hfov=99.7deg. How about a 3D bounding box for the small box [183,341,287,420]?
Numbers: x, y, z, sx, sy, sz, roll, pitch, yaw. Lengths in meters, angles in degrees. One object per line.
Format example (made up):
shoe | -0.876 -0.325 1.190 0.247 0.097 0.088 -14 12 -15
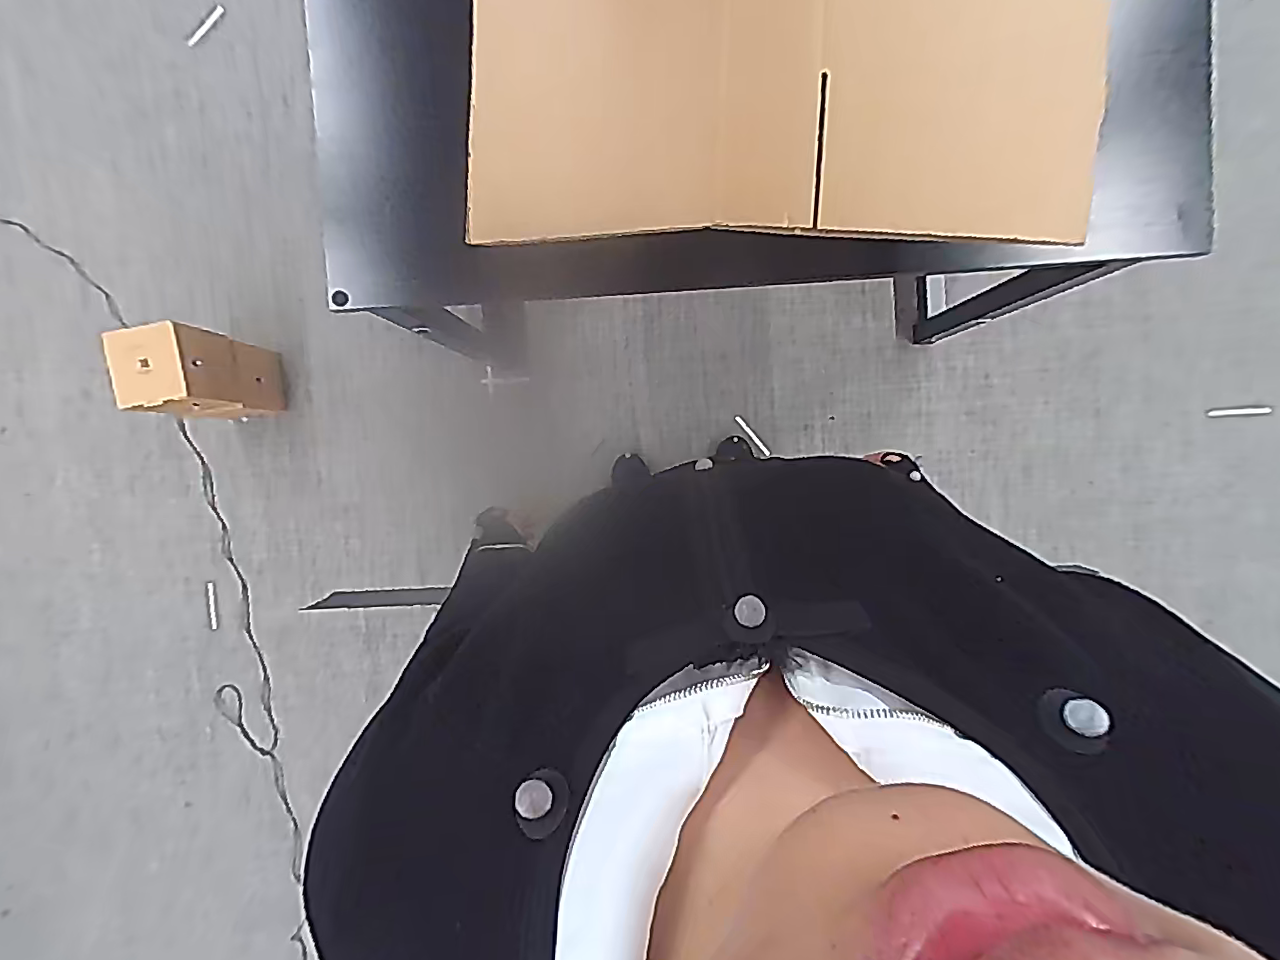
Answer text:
small box | -1.086 -0.260 1.445 0.168 0.176 0.179 -7 94 3

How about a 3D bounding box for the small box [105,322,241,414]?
small box | -1.094 -0.256 1.283 0.168 0.176 0.179 -10 92 2
